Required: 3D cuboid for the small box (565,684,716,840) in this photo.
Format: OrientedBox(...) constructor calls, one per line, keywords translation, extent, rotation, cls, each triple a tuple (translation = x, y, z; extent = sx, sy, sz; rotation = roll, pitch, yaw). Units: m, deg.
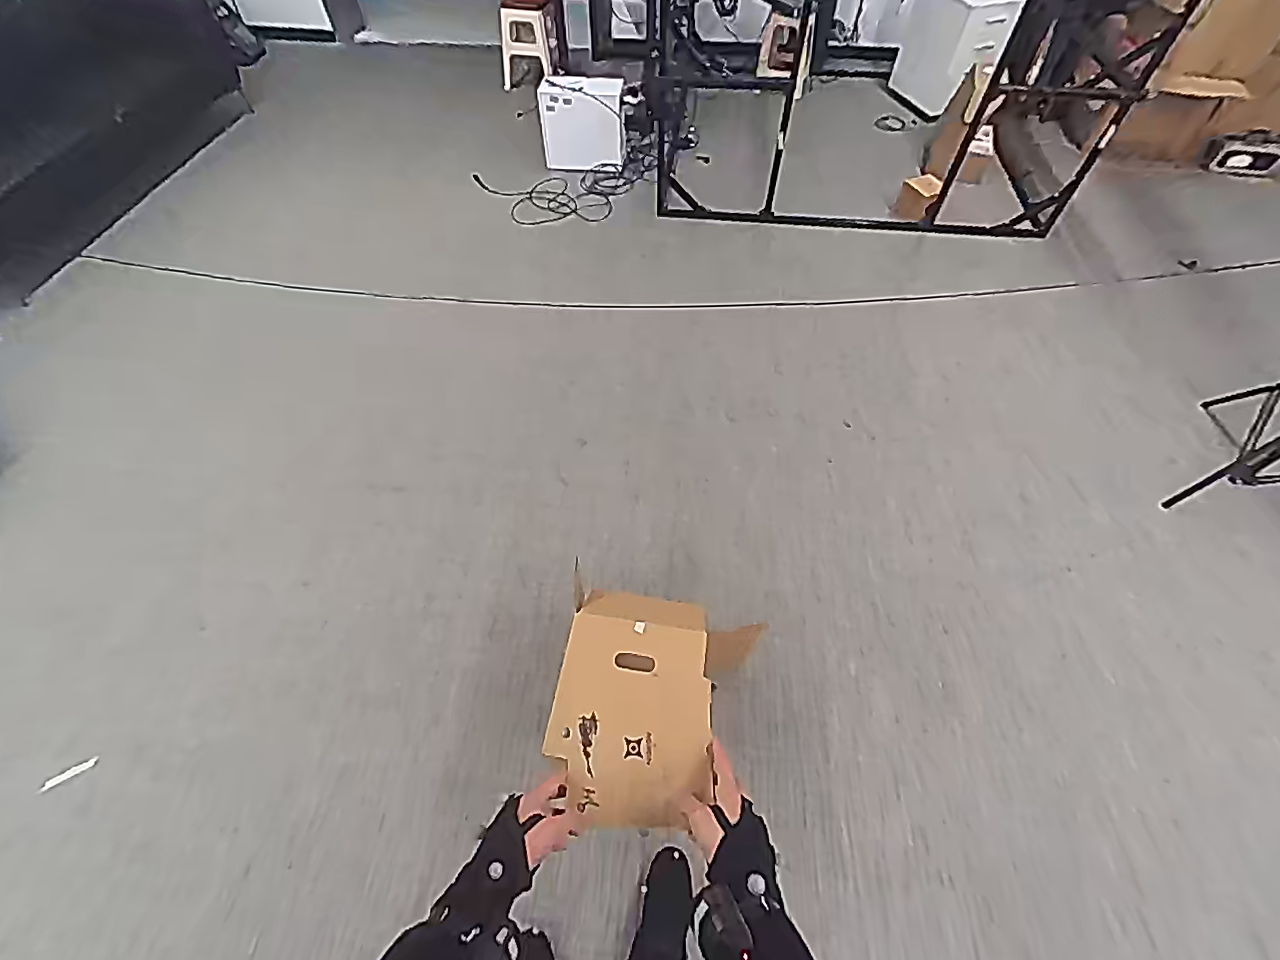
OrientedBox(translation=(0.004, 0.372, 0.726), extent=(0.179, 0.176, 0.168), rotation=(0, 62, 2), cls="small box")
